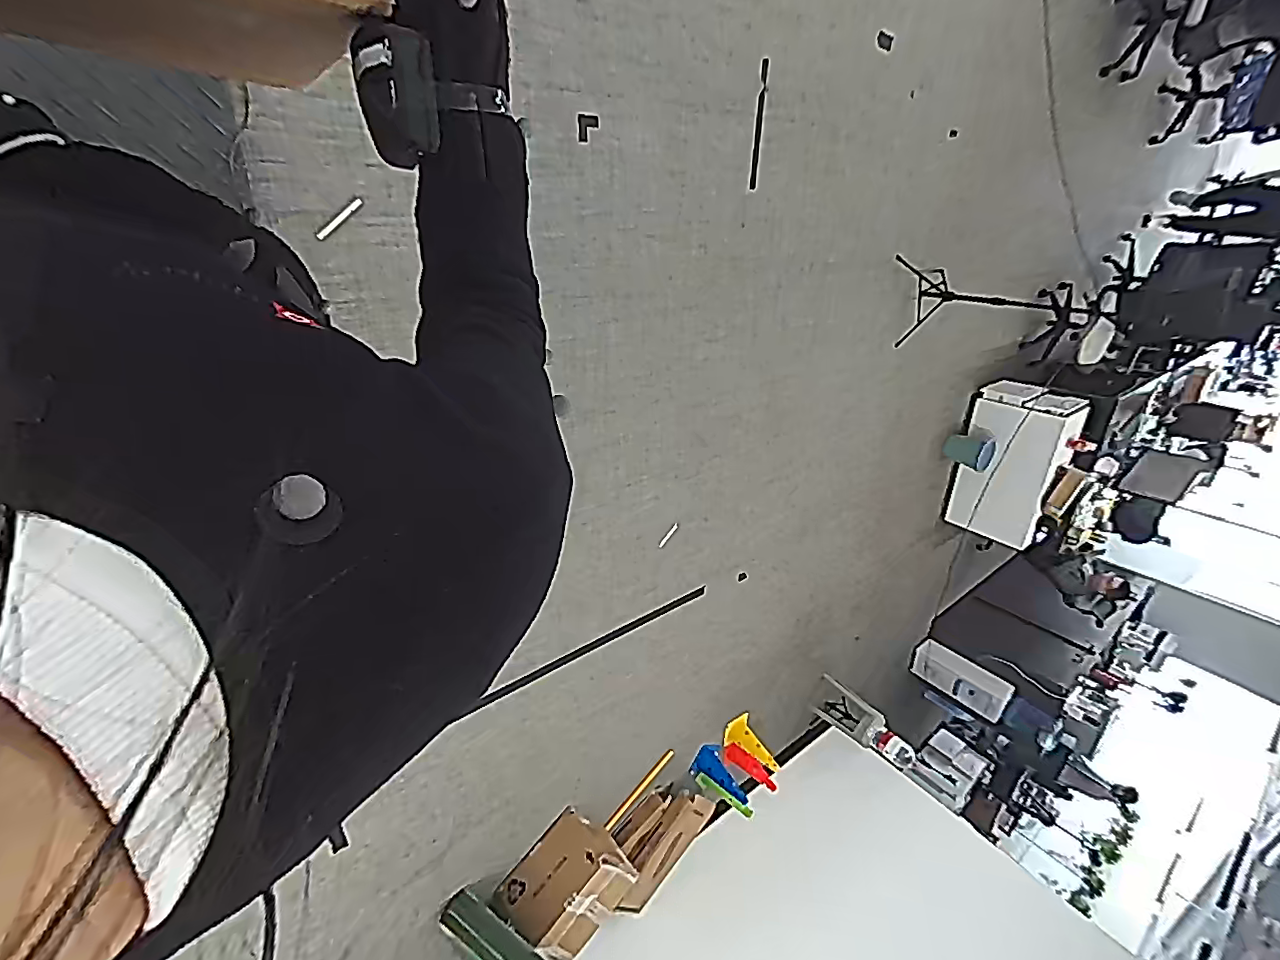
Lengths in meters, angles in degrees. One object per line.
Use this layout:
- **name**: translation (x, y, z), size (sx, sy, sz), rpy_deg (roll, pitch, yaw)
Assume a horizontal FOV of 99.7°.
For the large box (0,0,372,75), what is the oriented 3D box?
- **large box**: translation (-0.385, -0.422, 0.234), size (0.408, 0.320, 0.320), rpy_deg (-15, 122, -36)
